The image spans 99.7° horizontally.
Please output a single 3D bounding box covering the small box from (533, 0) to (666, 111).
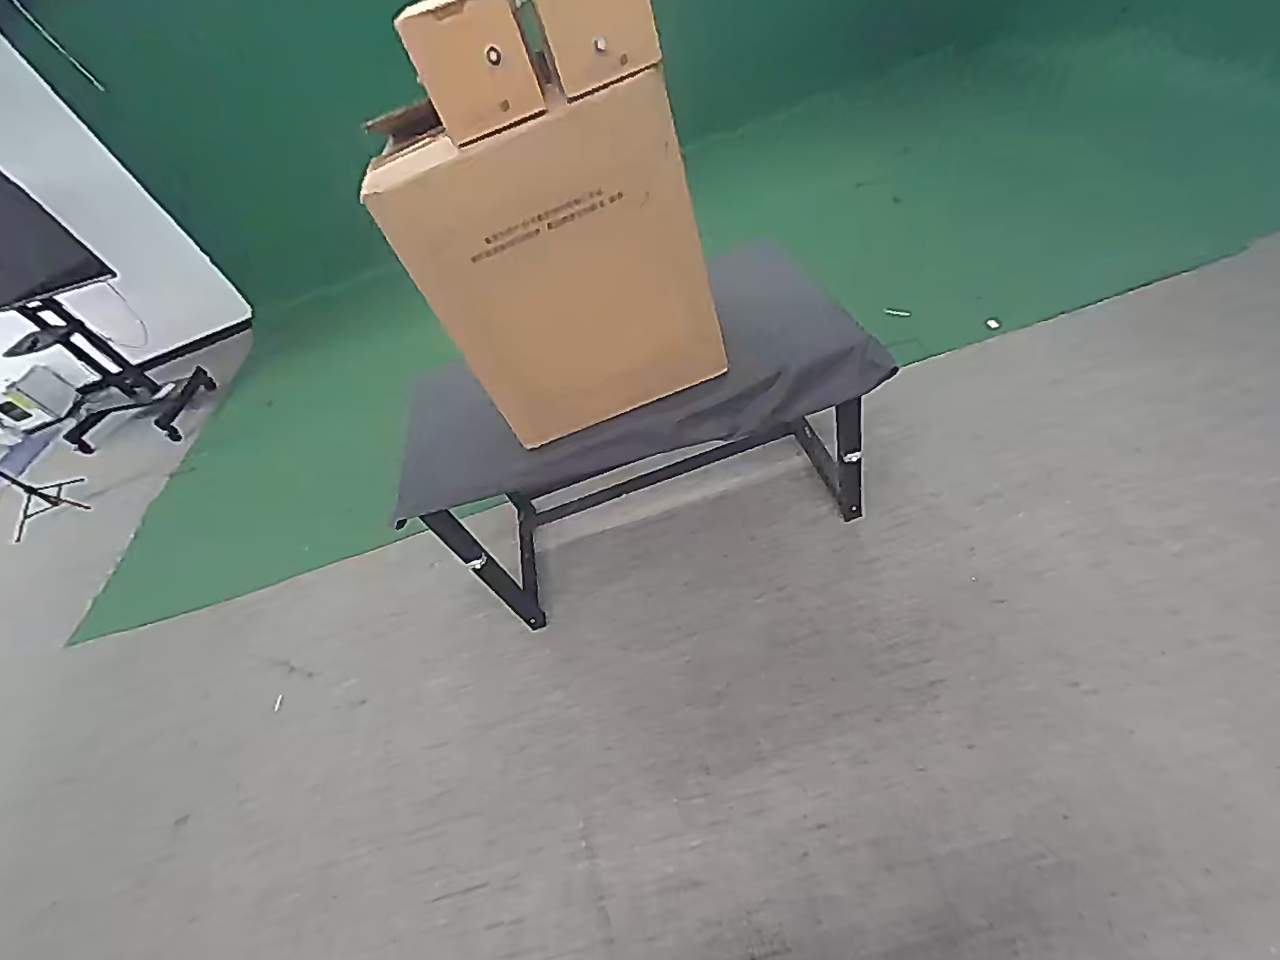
[{"bbox_3d":[-0.071,-0.729,0.873,0.168,0.176,0.179,-21,46,3],"label":"small box"}]
